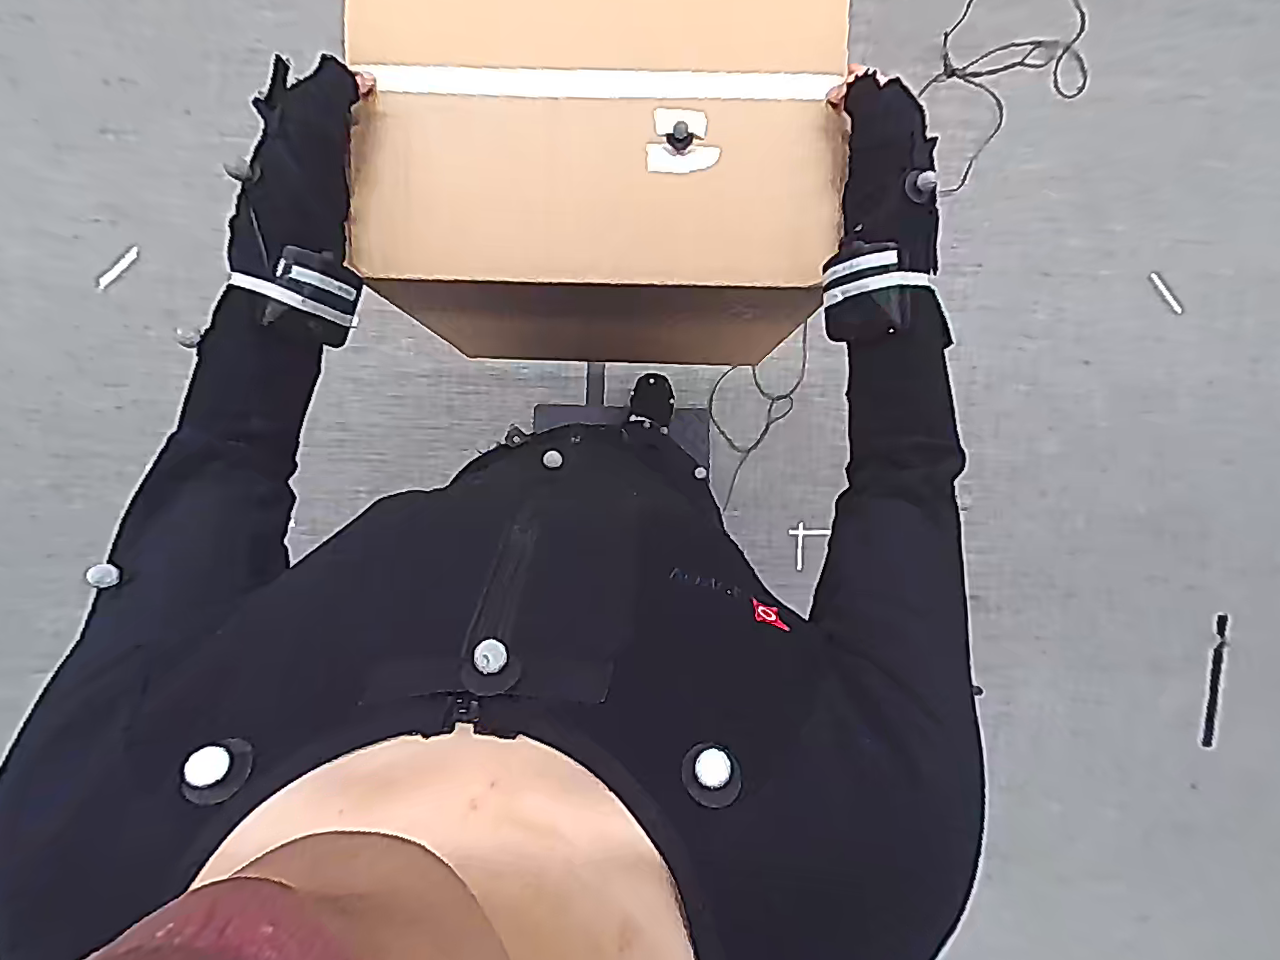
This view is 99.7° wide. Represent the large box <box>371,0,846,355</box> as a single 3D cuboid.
[{"bbox_3d":[-0.029,-0.327,0.603,0.408,0.320,0.320,1,91,-1],"label":"large box"}]

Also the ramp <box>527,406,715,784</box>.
[{"bbox_3d":[-0.043,0.287,1.461,0.509,0.206,0.991,0,93,1],"label":"ramp"}]
